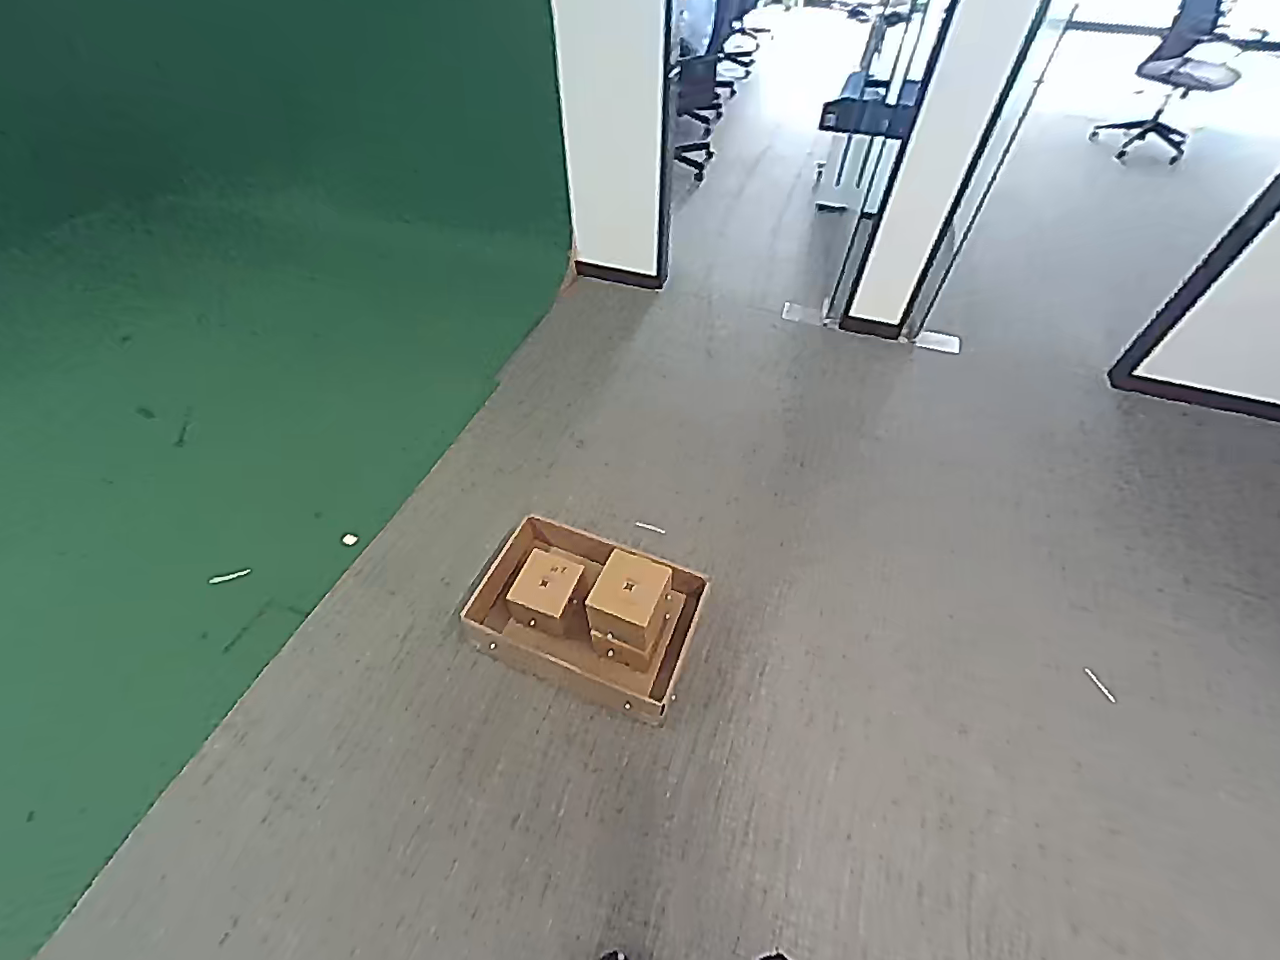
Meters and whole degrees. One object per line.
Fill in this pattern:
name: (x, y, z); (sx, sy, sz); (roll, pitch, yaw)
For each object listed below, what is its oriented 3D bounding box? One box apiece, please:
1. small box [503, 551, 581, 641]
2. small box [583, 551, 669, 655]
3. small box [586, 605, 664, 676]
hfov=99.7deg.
small box: (-0.278, 0.346, 1.591); (0.168, 0.176, 0.179); (18, 53, 11)
small box: (-0.036, 0.322, 1.410); (0.168, 0.176, 0.179); (19, 53, 15)
small box: (-0.037, 0.429, 1.533); (0.168, 0.176, 0.179); (18, 52, 13)
